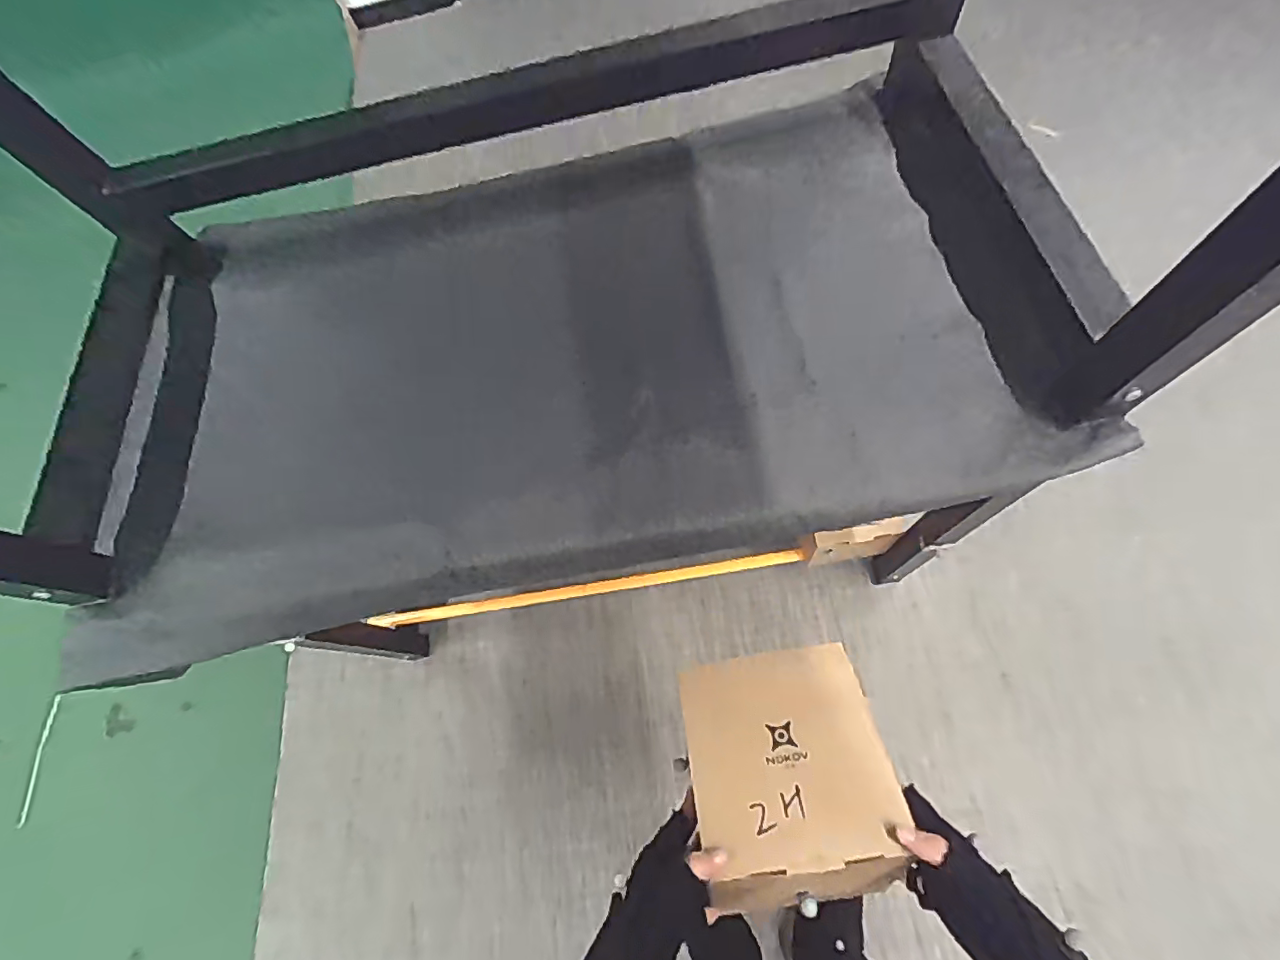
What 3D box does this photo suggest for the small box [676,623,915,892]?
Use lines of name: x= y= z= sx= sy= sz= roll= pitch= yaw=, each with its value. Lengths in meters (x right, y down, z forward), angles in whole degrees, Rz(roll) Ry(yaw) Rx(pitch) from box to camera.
small box: x=0.131 y=0.268 z=0.523 sx=0.168 sy=0.176 sz=0.179 roll=-10 pitch=44 yaw=2
